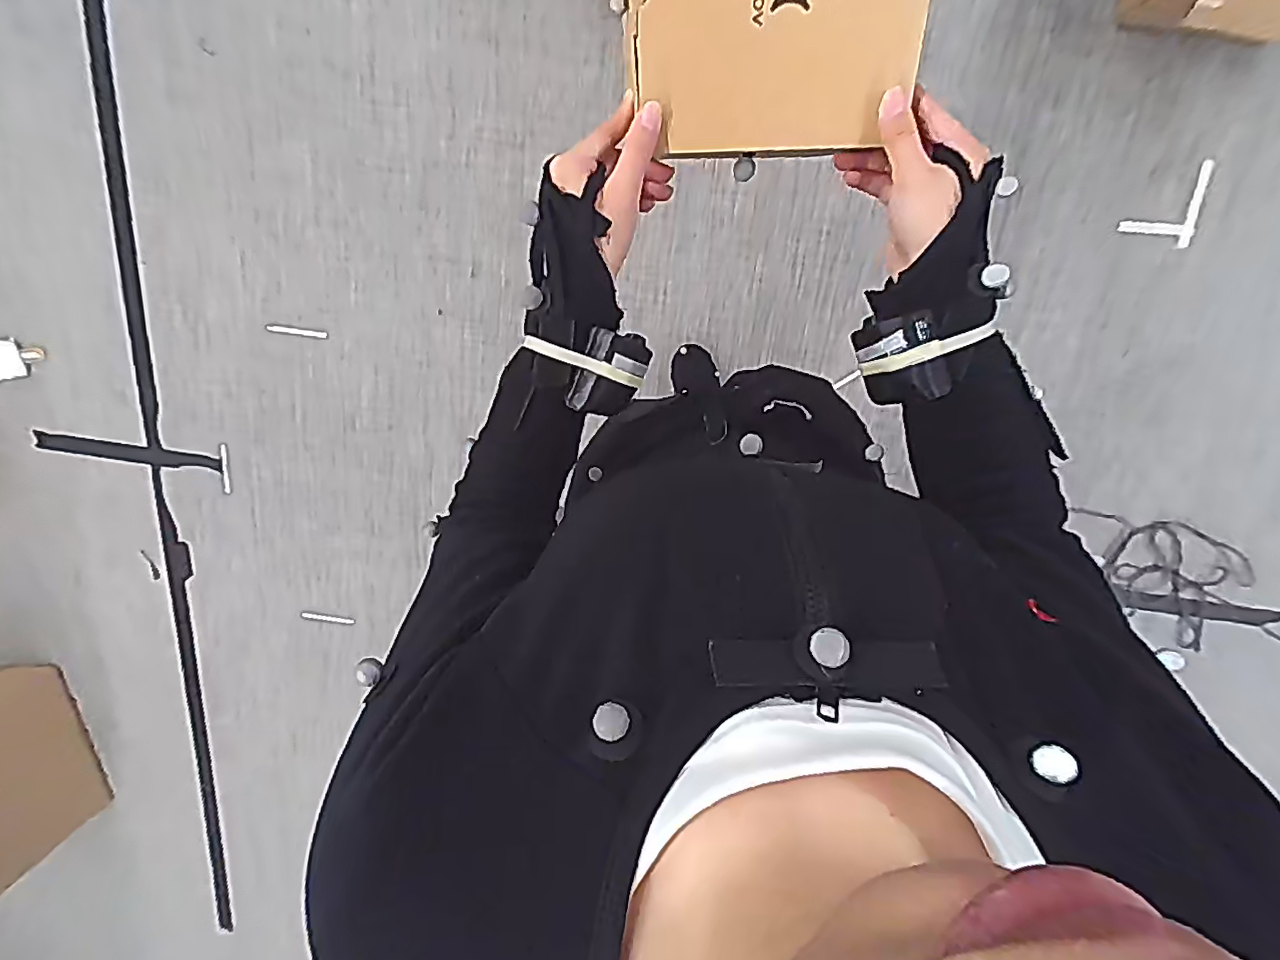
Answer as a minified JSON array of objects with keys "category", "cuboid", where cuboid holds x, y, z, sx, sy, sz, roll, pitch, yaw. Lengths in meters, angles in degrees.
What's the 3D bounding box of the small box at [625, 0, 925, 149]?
[{"category":"small box","cuboid":[0.079,-0.331,0.376,0.179,0.176,0.168,-2,120,0]}]
